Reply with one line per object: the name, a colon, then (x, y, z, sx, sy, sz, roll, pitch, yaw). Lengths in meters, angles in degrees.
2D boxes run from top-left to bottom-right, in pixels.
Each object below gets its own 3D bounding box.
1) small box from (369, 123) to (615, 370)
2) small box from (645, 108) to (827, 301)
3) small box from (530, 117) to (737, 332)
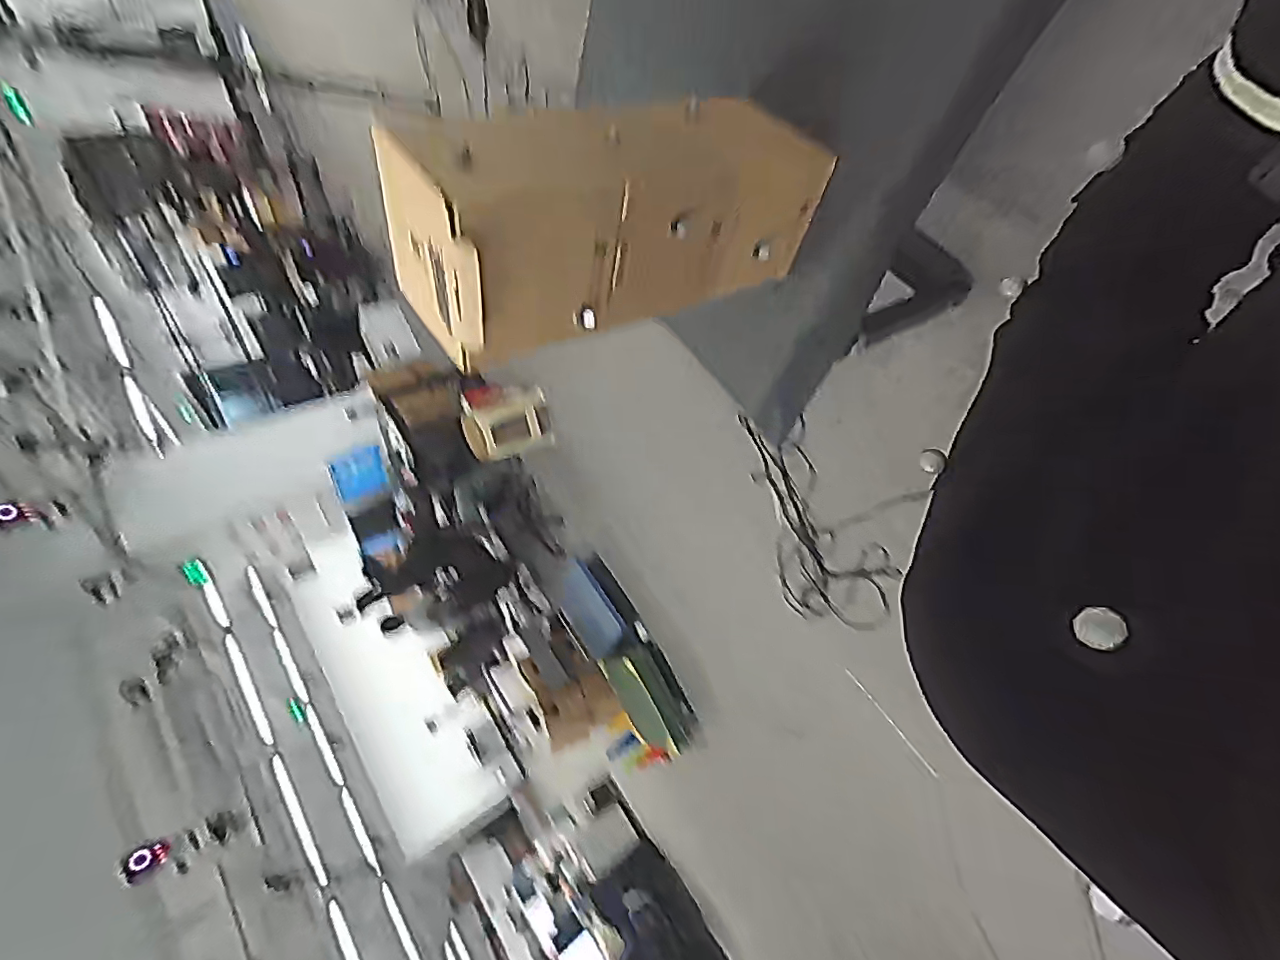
small box: (-0.145, -0.246, 0.552, 0.179, 0.176, 0.168, 48, 145, 27)
small box: (0.110, -0.370, 0.715, 0.179, 0.176, 0.168, 49, 147, 24)
small box: (-0.016, -0.306, 0.635, 0.179, 0.176, 0.168, 50, 146, 26)
